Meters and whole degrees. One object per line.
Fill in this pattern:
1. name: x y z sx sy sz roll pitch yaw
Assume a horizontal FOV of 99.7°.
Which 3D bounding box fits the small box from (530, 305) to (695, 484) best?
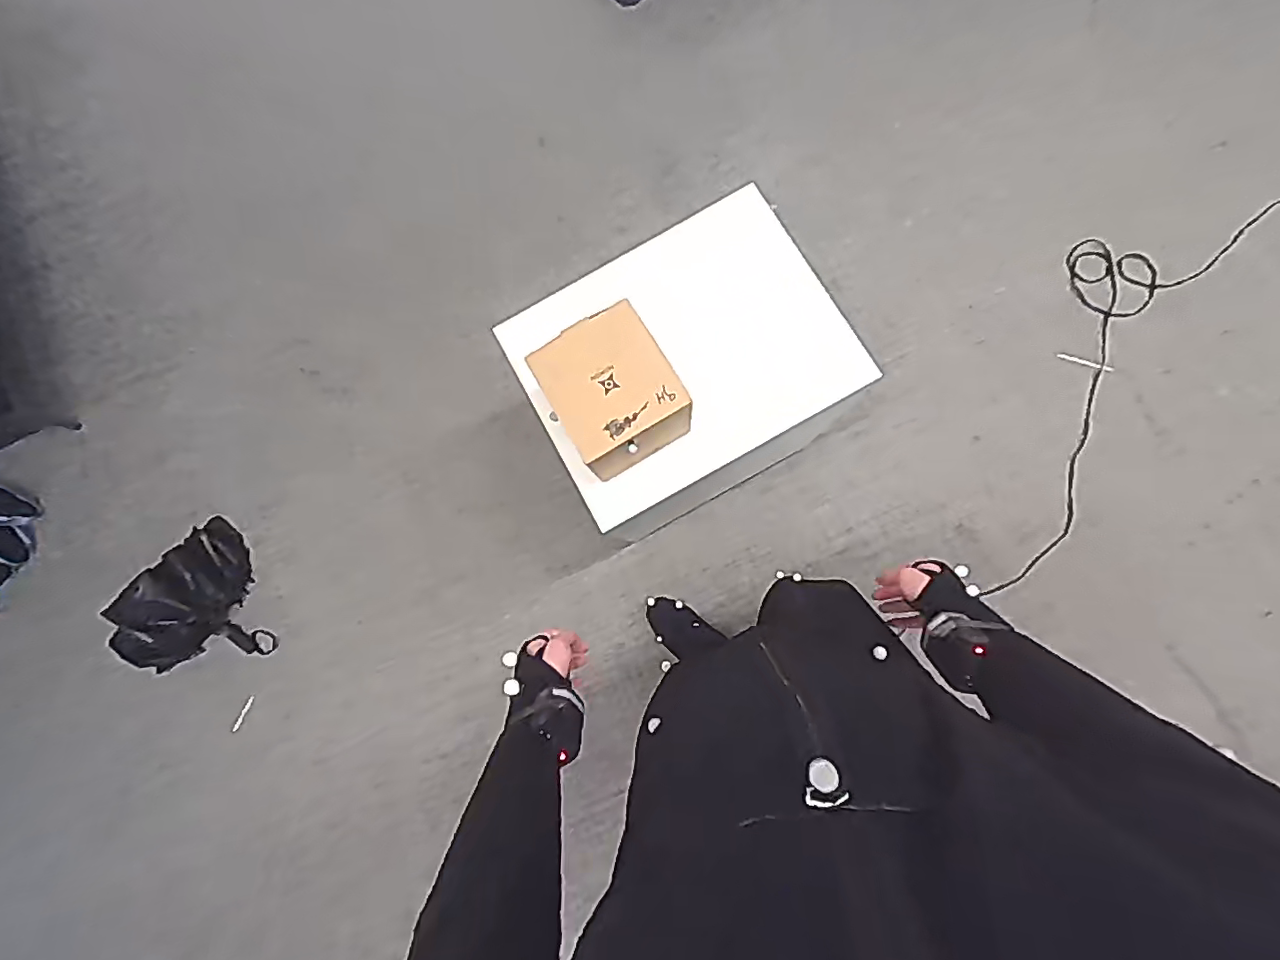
1. small box: -0.033 -0.114 0.798 0.168 0.176 0.179 -31 79 0
